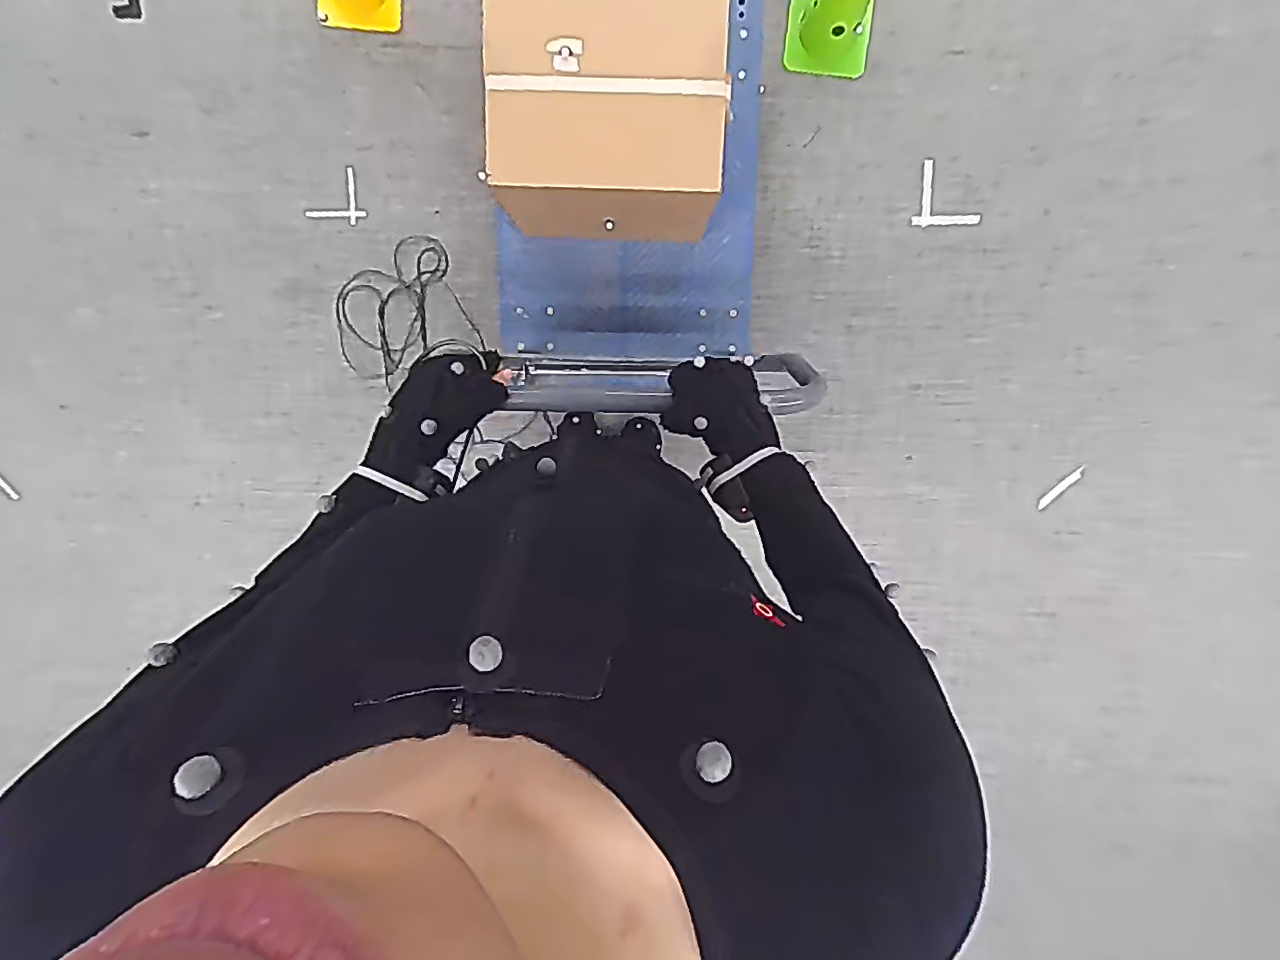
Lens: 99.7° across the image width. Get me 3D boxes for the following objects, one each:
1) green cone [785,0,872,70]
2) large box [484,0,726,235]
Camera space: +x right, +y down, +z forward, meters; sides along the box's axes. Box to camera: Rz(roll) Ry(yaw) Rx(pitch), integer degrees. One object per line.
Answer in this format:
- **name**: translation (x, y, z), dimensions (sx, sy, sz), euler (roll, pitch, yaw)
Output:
- **green cone**: translation (0.460, -1.082, 1.137), dimensions (0.202, 0.368, 0.200), euler (5, 99, -2)
- **large box**: translation (-0.056, -0.678, 1.051), dimensions (0.408, 0.320, 0.320), euler (2, 99, 0)
